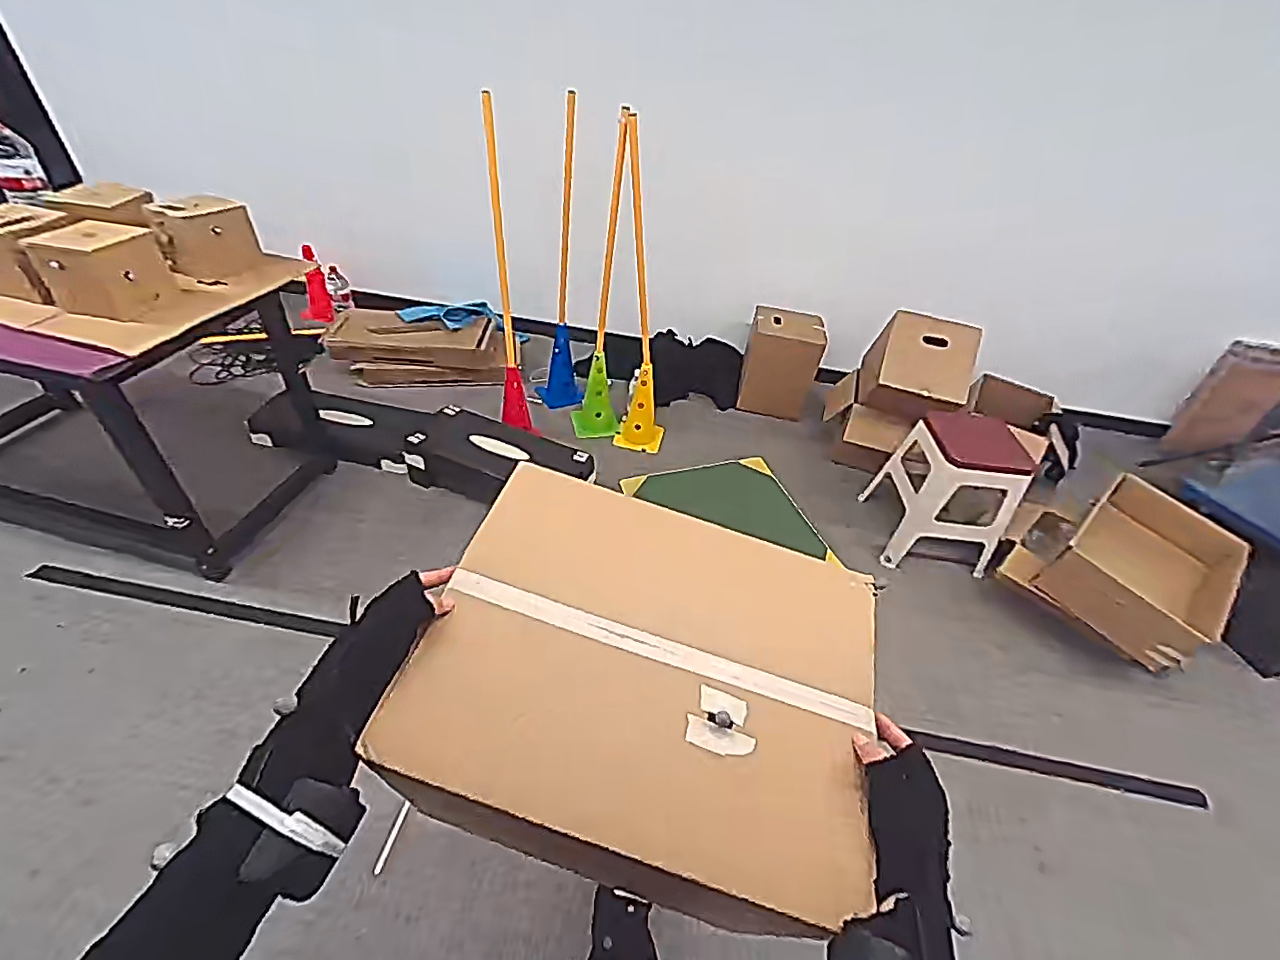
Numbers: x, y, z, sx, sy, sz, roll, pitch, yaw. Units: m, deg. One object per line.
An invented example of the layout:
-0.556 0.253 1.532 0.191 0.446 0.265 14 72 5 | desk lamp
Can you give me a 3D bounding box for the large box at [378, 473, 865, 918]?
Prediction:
-0.008 0.251 0.624 0.408 0.320 0.320 19 52 2 | large box
